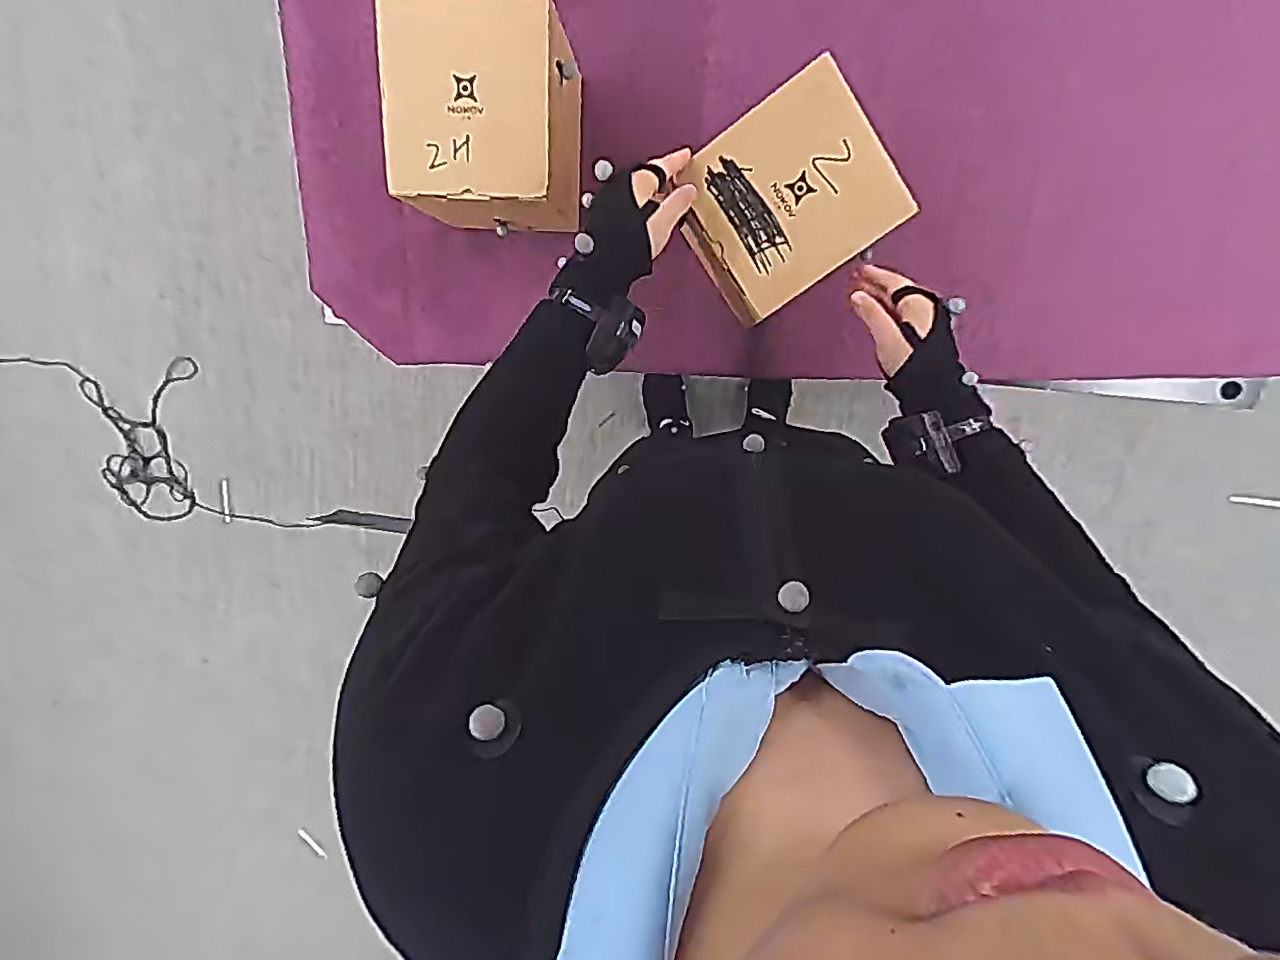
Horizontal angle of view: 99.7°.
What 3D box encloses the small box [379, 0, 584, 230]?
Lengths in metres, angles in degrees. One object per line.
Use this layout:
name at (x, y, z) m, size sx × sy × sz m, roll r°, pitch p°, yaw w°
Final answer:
small box at (-0.157, -0.385, 0.586) m, size 0.168 × 0.176 × 0.179 m, roll 4°, pitch 105°, yaw 4°
